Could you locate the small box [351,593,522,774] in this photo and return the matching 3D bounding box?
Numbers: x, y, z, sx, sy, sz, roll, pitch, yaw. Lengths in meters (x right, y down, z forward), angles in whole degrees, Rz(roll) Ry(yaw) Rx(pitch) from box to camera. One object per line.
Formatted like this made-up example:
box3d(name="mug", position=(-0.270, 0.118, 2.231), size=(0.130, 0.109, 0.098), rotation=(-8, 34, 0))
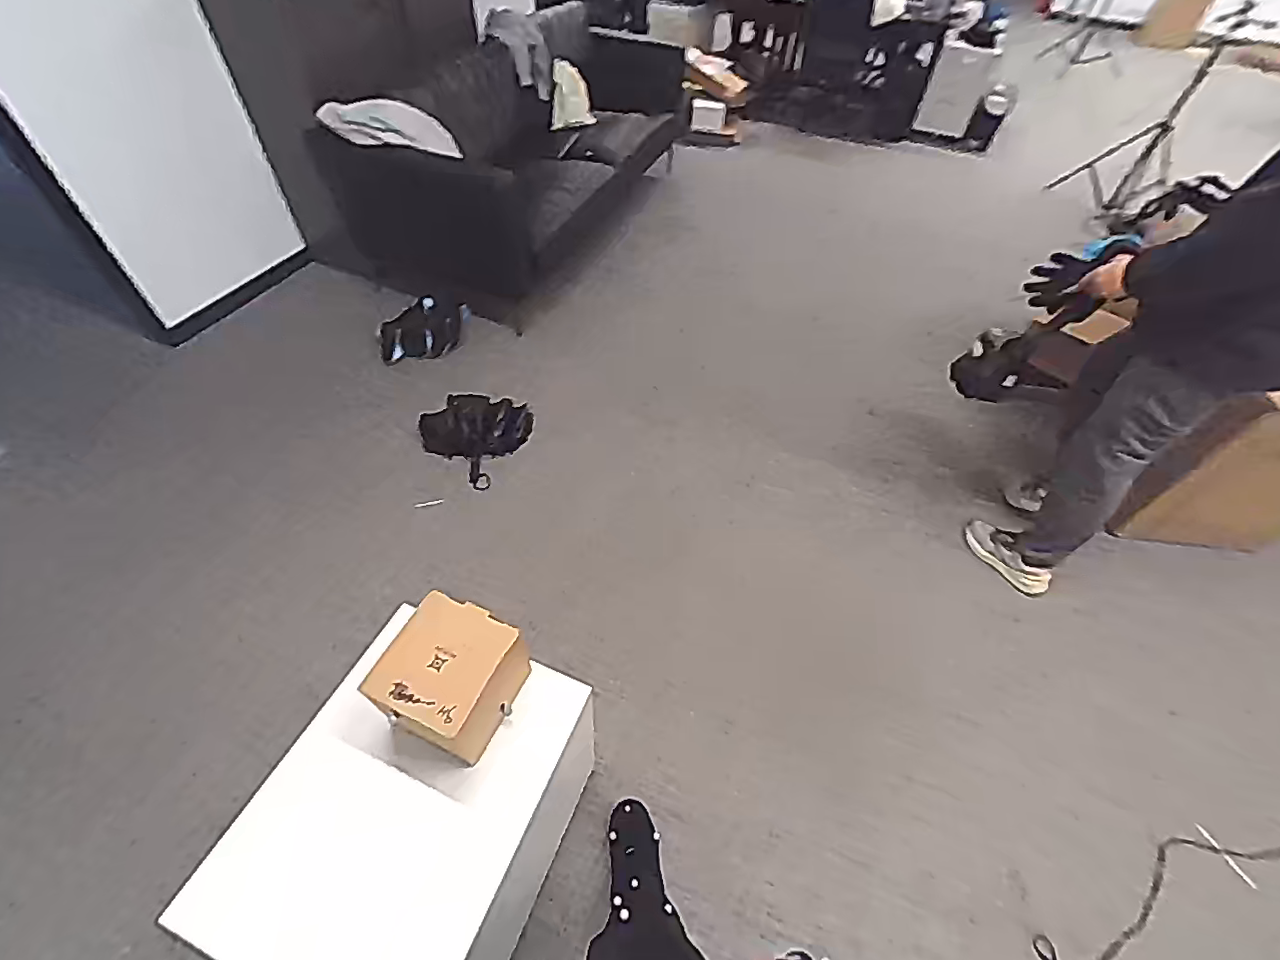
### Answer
box3d(name="small box", position=(-0.294, 0.312, 0.825), size=(0.168, 0.176, 0.179), rotation=(21, 50, 11))
